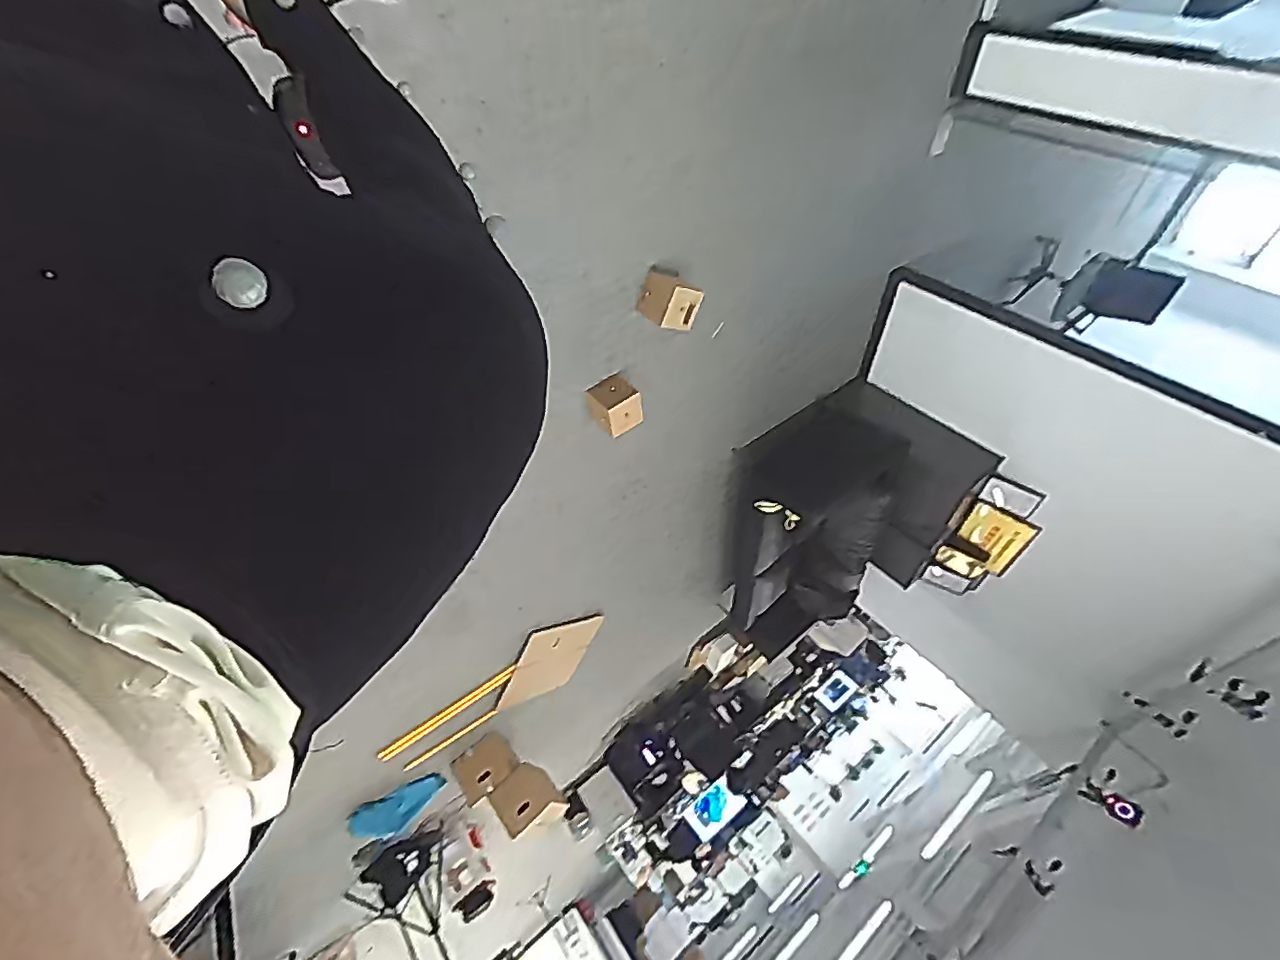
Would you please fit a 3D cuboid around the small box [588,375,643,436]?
[{"bbox_3d":[-0.107,-0.332,2.342,0.168,0.176,0.179,-33,146,-19],"label":"small box"}]
